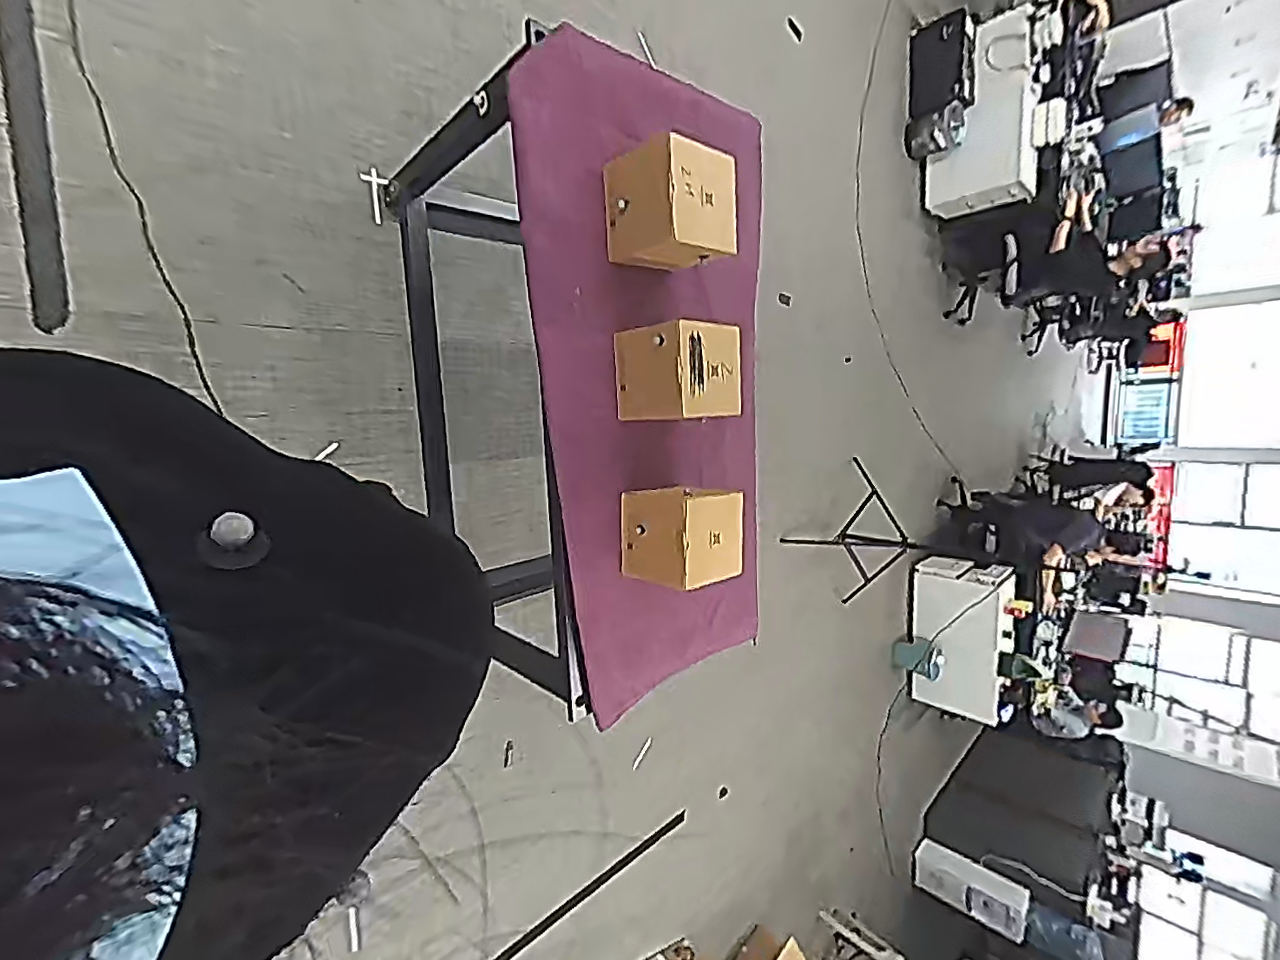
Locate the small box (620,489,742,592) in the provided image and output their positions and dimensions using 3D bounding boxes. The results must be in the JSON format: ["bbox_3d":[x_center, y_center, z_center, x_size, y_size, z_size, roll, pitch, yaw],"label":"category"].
[{"bbox_3d":[0.082,0.108,1.068,0.179,0.176,0.168,-5,97,-45],"label":"small box"}]

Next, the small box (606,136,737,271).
[{"bbox_3d":[0.059,-0.489,0.989,0.179,0.176,0.168,-12,103,-43],"label":"small box"}]
